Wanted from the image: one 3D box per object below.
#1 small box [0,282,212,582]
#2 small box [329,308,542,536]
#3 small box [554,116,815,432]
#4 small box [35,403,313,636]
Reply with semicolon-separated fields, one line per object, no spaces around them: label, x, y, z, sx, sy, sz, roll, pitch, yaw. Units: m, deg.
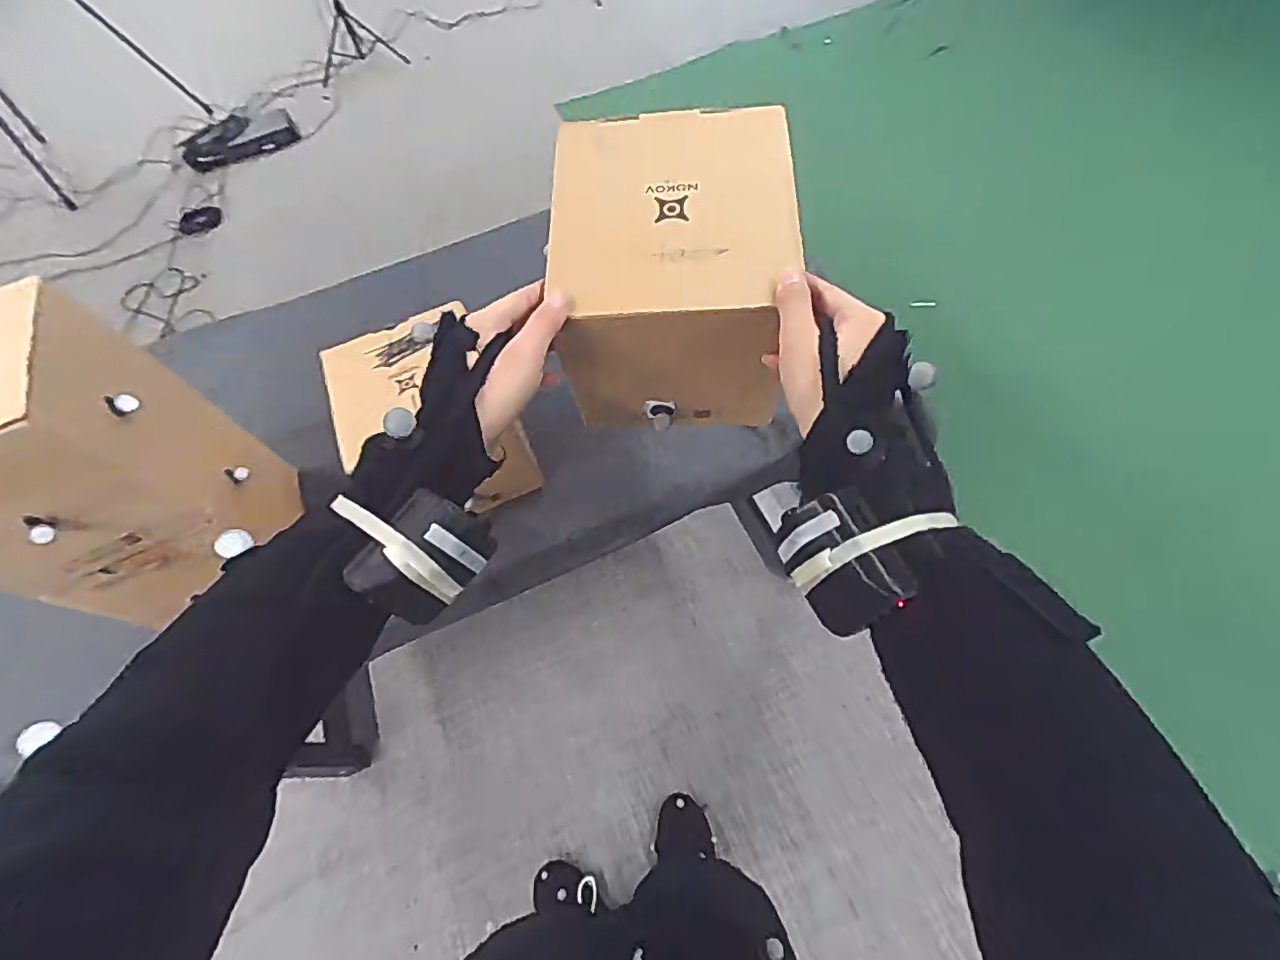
small box;-0.521;-0.029;0.475;0.168;0.176;0.179;-27;62;-9
small box;-0.235;-0.063;0.645;0.168;0.176;0.179;-24;61;-7
small box;0.033;-0.153;0.441;0.168;0.176;0.179;-1;69;5
small box;-0.510;0.051;0.617;0.168;0.176;0.179;-25;62;-8
